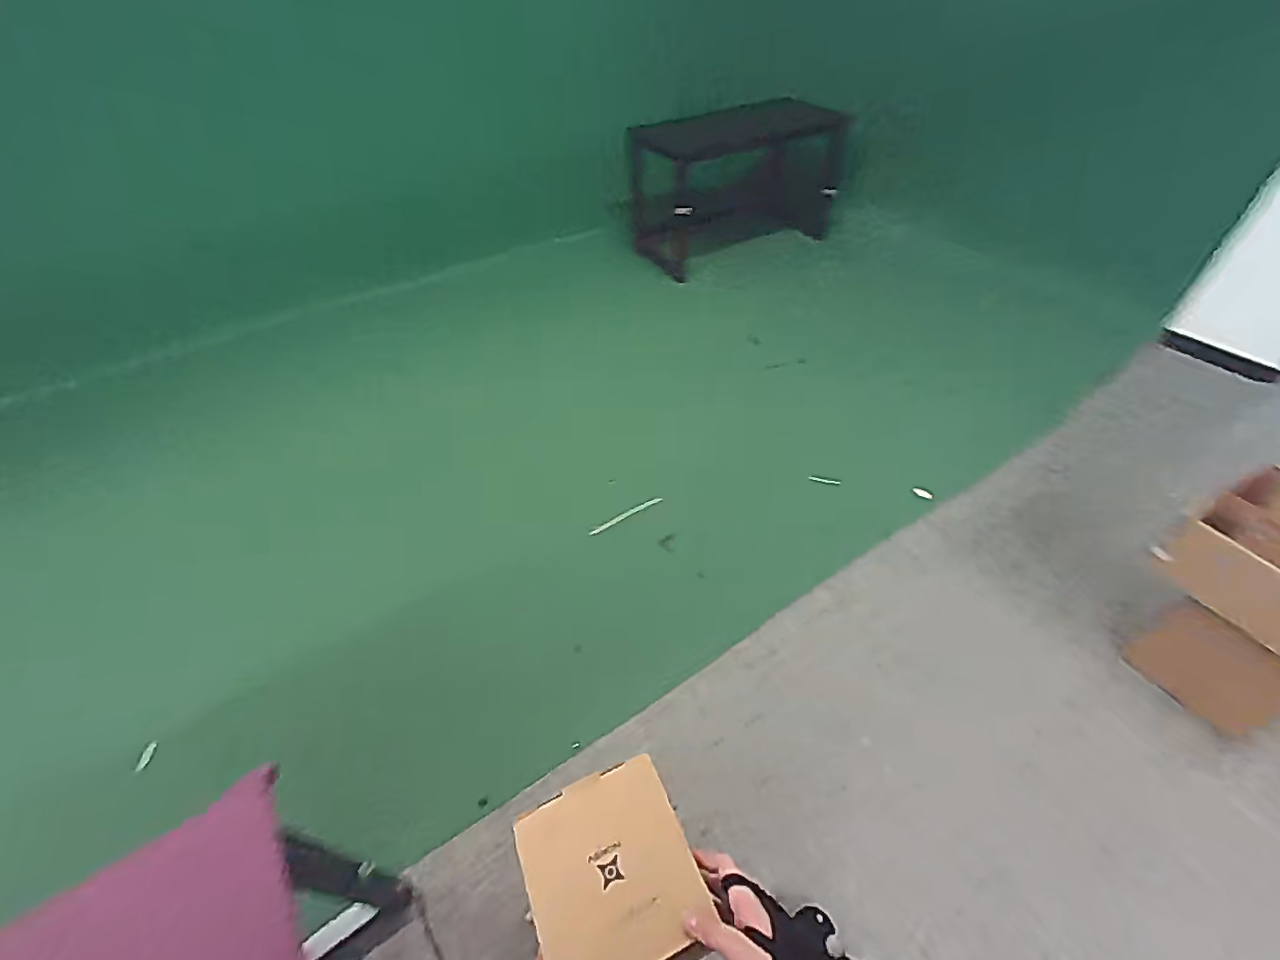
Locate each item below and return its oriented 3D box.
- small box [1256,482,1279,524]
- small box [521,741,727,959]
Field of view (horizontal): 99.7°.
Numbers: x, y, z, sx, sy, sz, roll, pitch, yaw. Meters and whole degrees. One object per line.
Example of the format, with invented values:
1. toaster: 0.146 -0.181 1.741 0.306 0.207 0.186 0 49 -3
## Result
1. small box: 1.570 0.029 1.213 0.179 0.176 0.168 -25 50 -20
2. small box: -0.020 0.435 0.599 0.168 0.176 0.179 -19 45 -13
